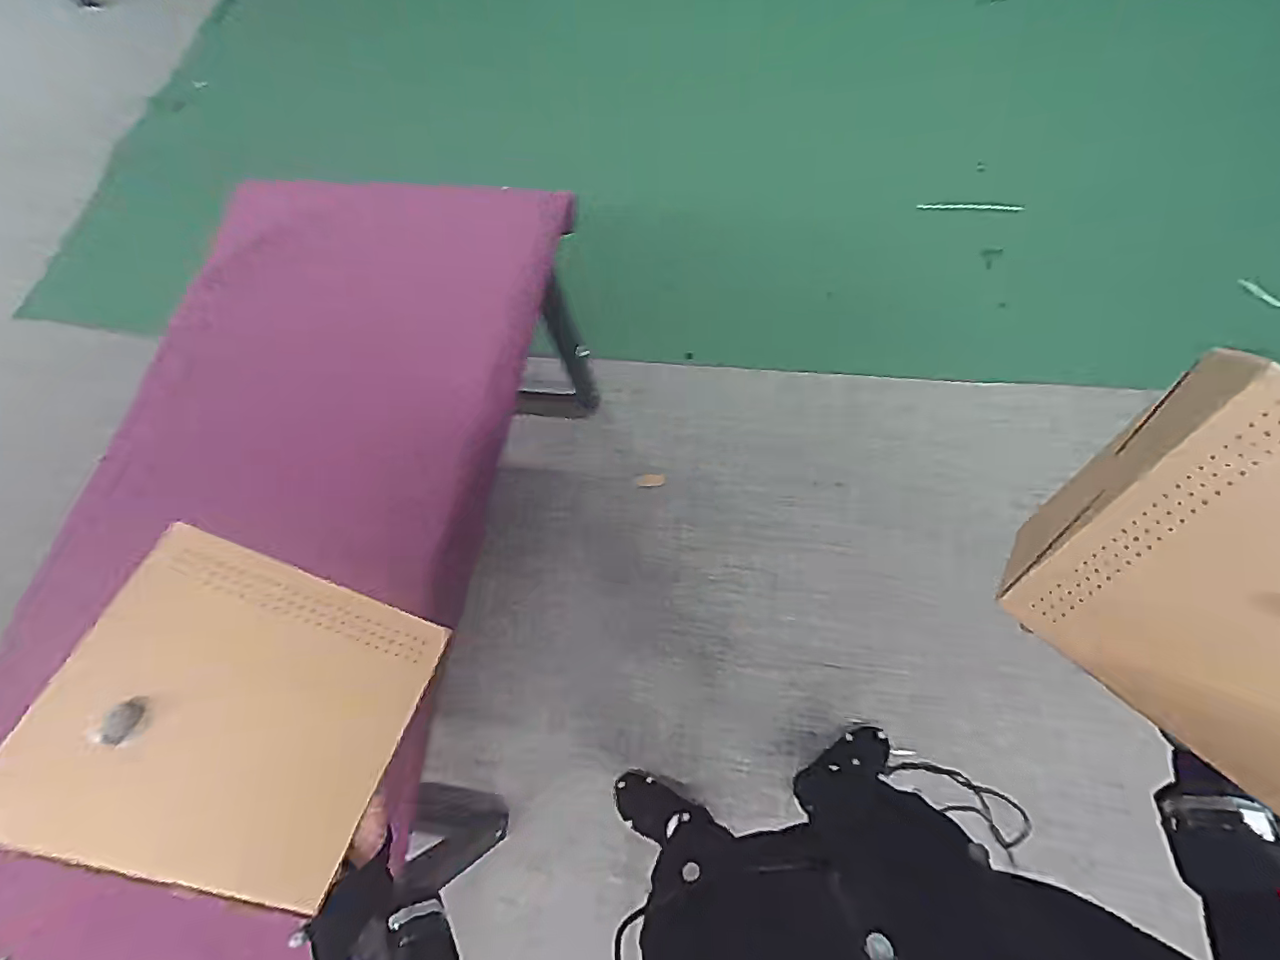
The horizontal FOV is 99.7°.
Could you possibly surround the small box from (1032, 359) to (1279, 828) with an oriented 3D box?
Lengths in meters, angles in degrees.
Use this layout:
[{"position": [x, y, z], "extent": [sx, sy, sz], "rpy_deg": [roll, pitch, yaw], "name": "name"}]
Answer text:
[{"position": [0.360, 0.053, 0.306], "extent": [0.176, 0.179, 0.168], "rpy_deg": [42, 36, 23], "name": "small box"}]
